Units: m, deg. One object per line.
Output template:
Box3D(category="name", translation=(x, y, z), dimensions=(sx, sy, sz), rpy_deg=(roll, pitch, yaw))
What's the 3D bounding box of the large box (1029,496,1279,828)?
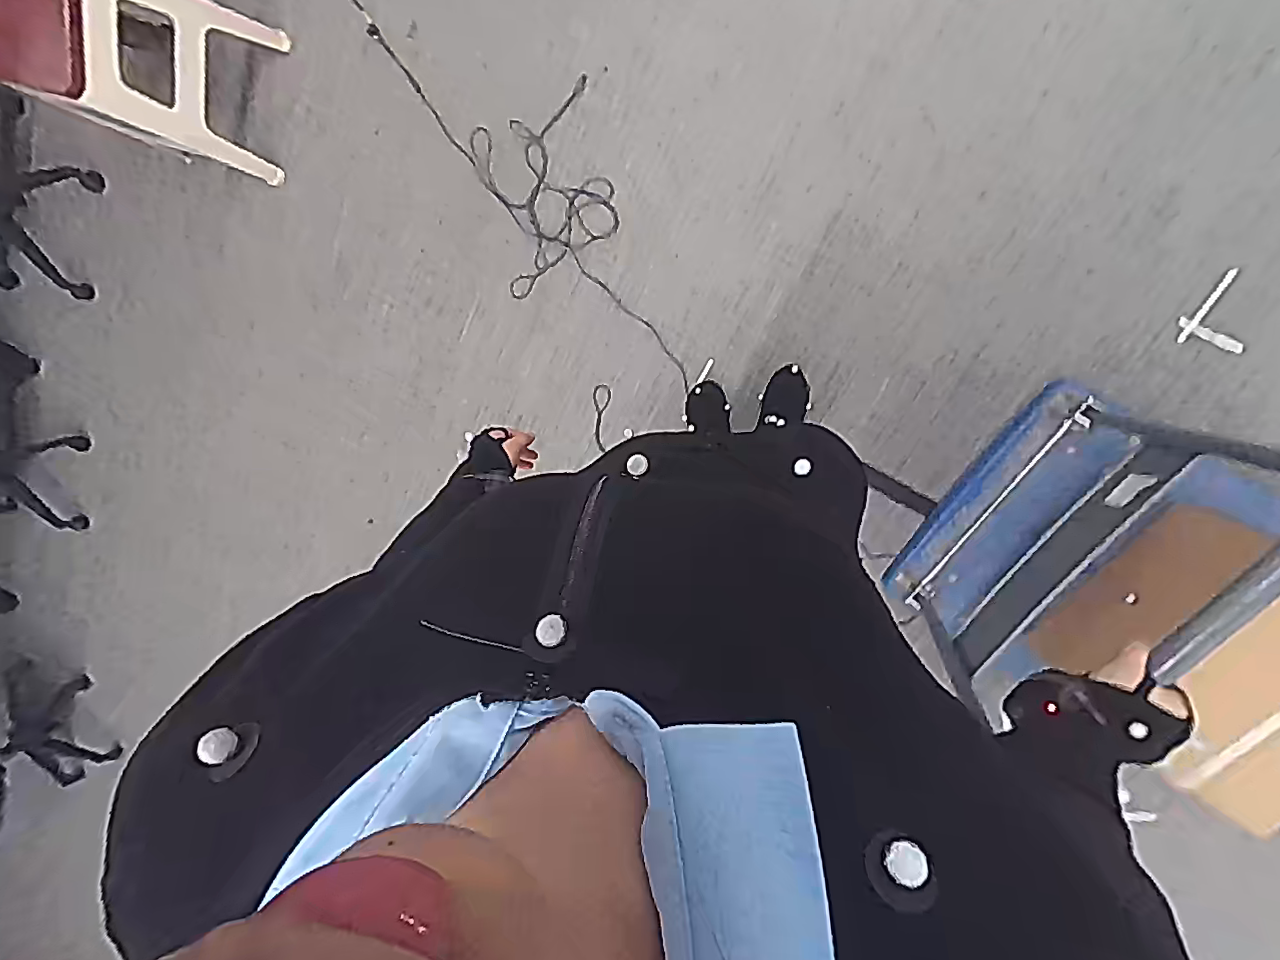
Box3D(category="large box", translation=(1.038, 0.301, 0.980), dimensions=(0.320, 0.320, 0.408), rpy_deg=(34, 109, 3))
